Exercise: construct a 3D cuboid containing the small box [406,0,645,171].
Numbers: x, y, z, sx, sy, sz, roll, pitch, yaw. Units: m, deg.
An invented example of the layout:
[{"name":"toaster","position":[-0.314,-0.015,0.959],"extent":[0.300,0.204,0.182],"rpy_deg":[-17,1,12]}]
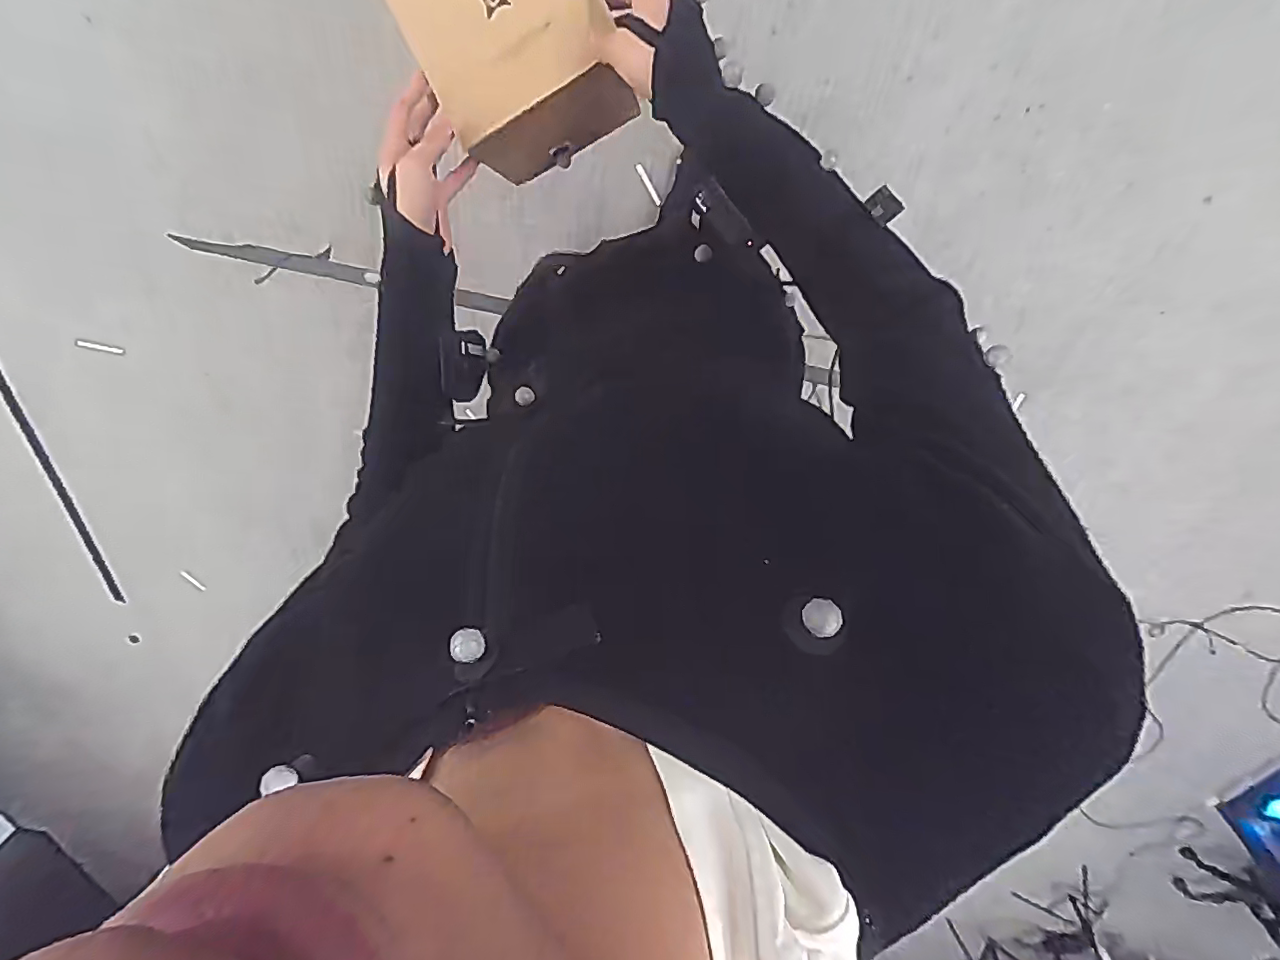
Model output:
[{"name":"small box","position":[-0.106,-0.435,0.517],"extent":[0.168,0.176,0.179],"rpy_deg":[-23,104,13]}]
